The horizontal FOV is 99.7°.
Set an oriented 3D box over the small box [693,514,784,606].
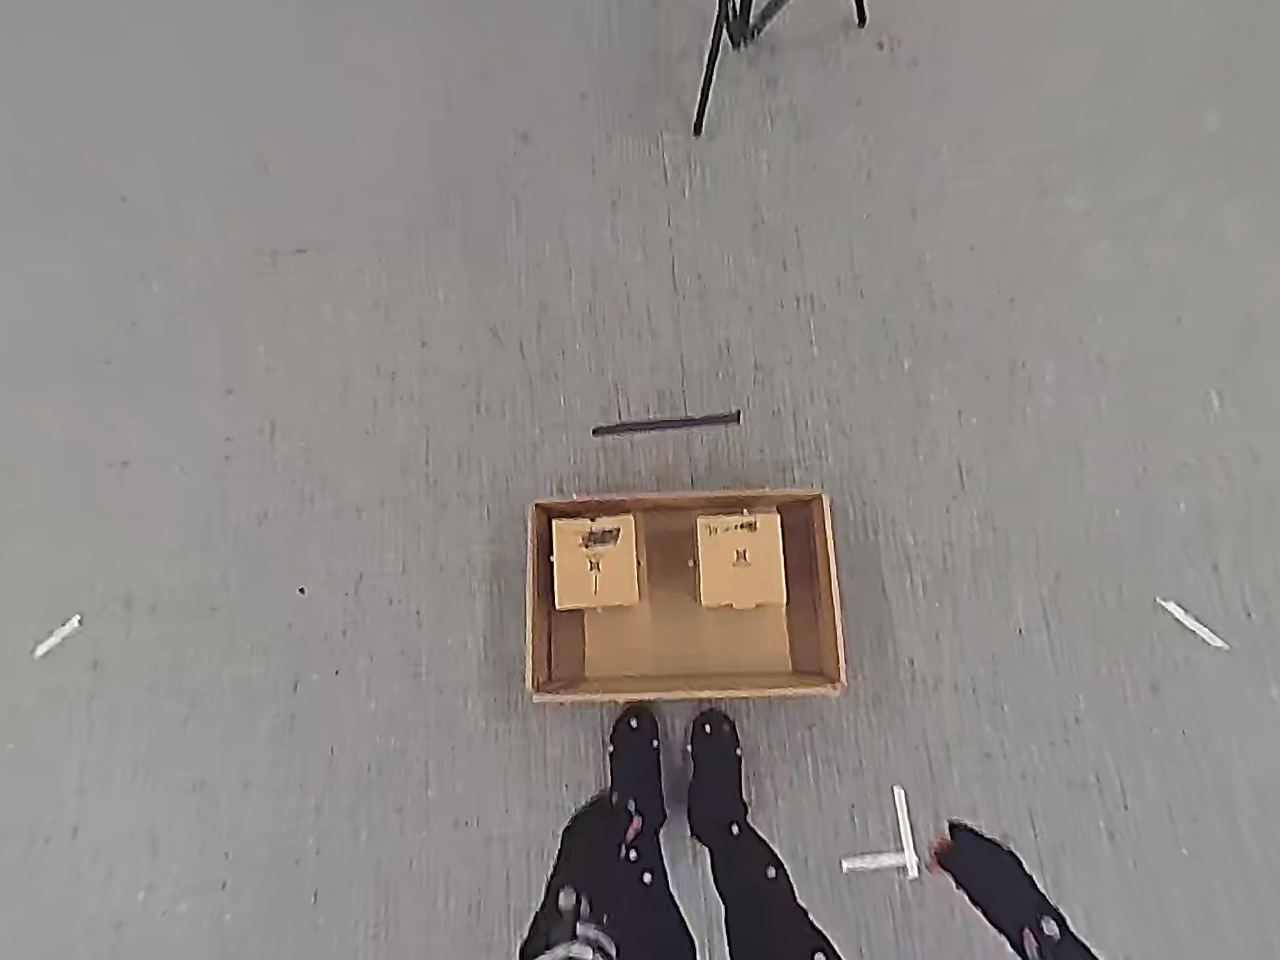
[{"bbox_3d":[0.198,0.165,1.127,0.168,0.176,0.179,-2,81,2],"label":"small box"}]
